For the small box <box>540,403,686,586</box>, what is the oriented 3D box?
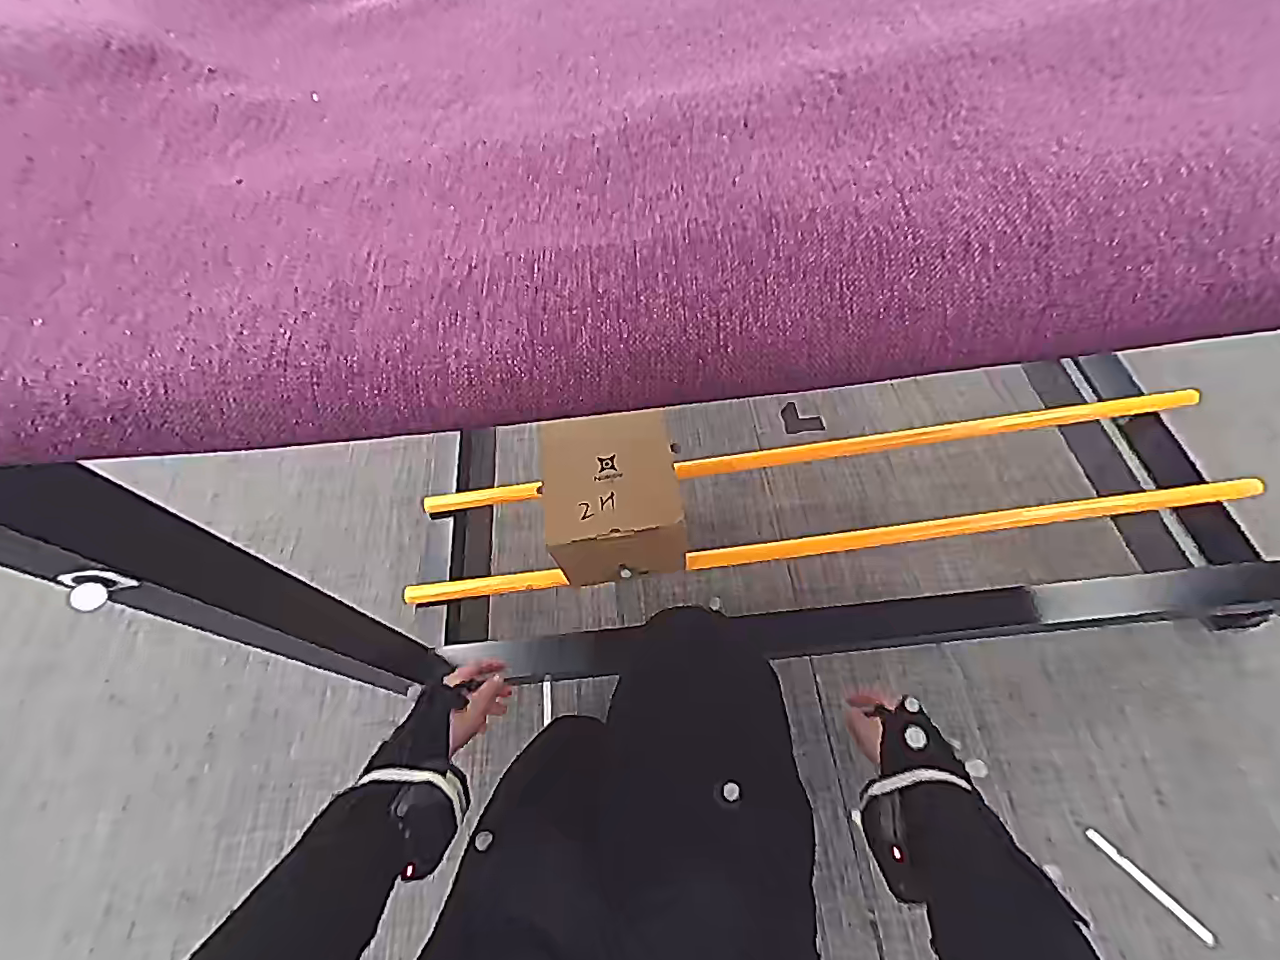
[{"bbox_3d":[-0.033,0.025,0.729,0.168,0.176,0.179,-9,61,1],"label":"small box"}]
